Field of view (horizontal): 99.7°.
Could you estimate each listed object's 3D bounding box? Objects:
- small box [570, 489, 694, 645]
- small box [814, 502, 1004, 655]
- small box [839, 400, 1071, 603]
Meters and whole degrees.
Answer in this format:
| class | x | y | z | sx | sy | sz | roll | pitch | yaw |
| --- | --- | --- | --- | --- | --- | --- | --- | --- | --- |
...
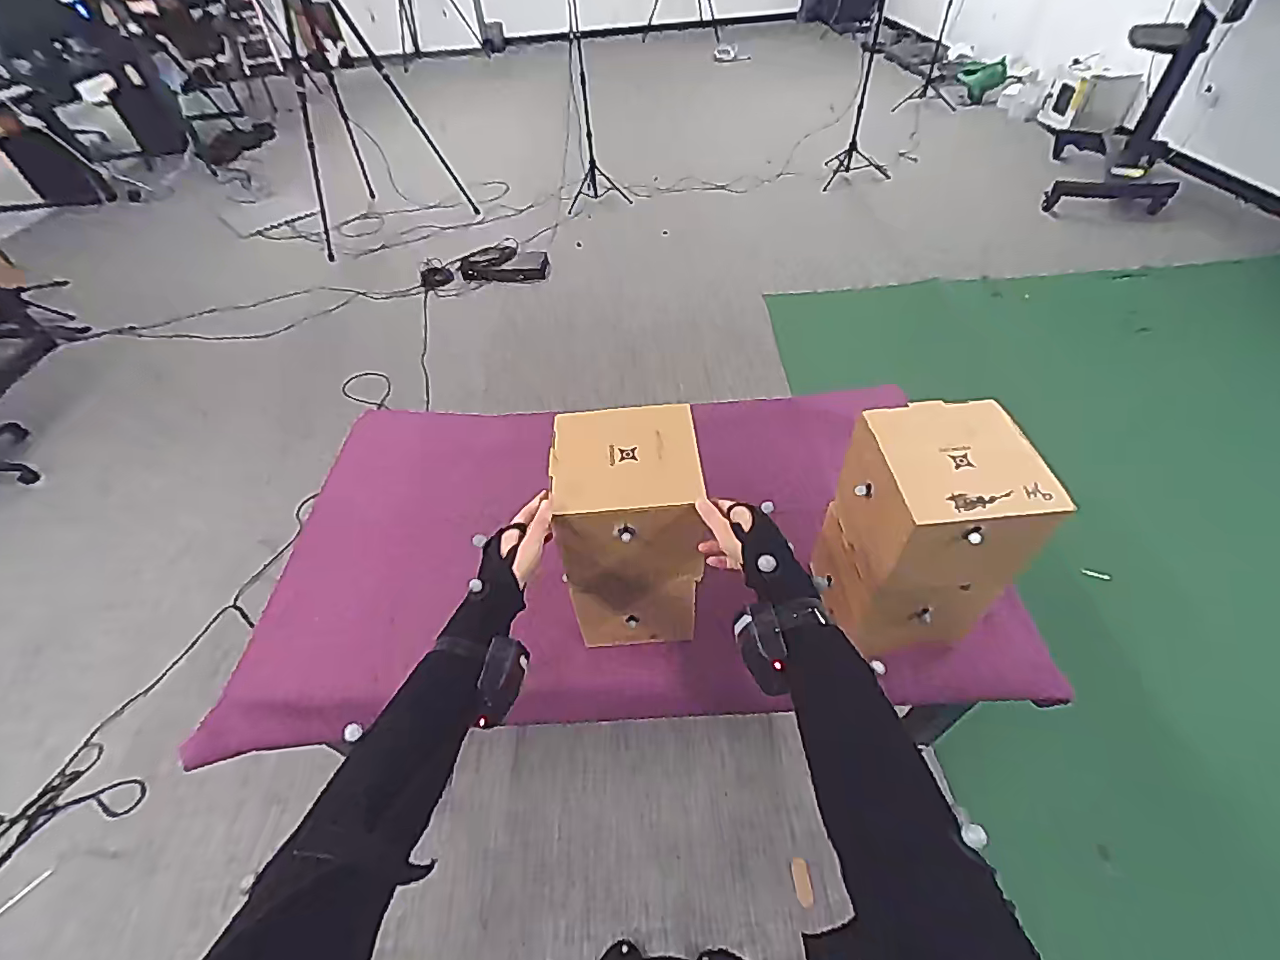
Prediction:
| class | x | y | z | sx | sy | sz | roll | pitch | yaw |
| --- | --- | --- | --- | --- | --- | --- | --- | --- | --- |
| small box | -0.008 | 0.139 | 0.823 | 0.168 | 0.176 | 0.179 | -5 | 47 | 1 |
| small box | 0.370 | 0.138 | 0.785 | 0.179 | 0.176 | 0.168 | -7 | 49 | 2 |
| small box | 0.359 | 0.027 | 0.663 | 0.168 | 0.176 | 0.179 | -7 | 48 | 2 |
